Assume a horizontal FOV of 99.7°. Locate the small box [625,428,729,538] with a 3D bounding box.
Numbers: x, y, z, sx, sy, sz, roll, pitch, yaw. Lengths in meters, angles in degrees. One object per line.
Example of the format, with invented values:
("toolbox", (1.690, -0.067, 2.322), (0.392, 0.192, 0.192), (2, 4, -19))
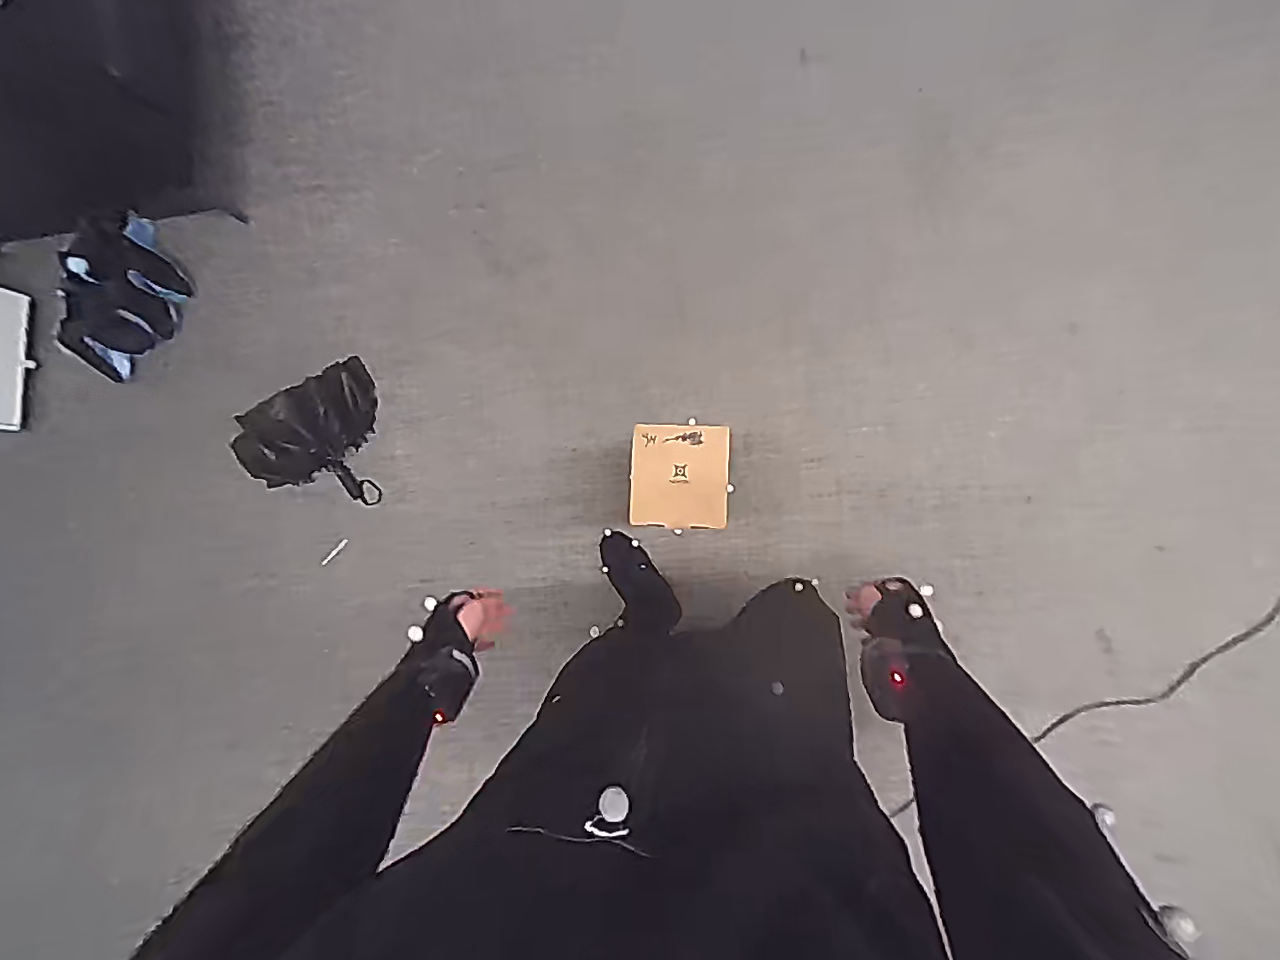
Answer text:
("small box", (0.069, 0.004, 0.967), (0.168, 0.176, 0.179), (2, 90, 6))
